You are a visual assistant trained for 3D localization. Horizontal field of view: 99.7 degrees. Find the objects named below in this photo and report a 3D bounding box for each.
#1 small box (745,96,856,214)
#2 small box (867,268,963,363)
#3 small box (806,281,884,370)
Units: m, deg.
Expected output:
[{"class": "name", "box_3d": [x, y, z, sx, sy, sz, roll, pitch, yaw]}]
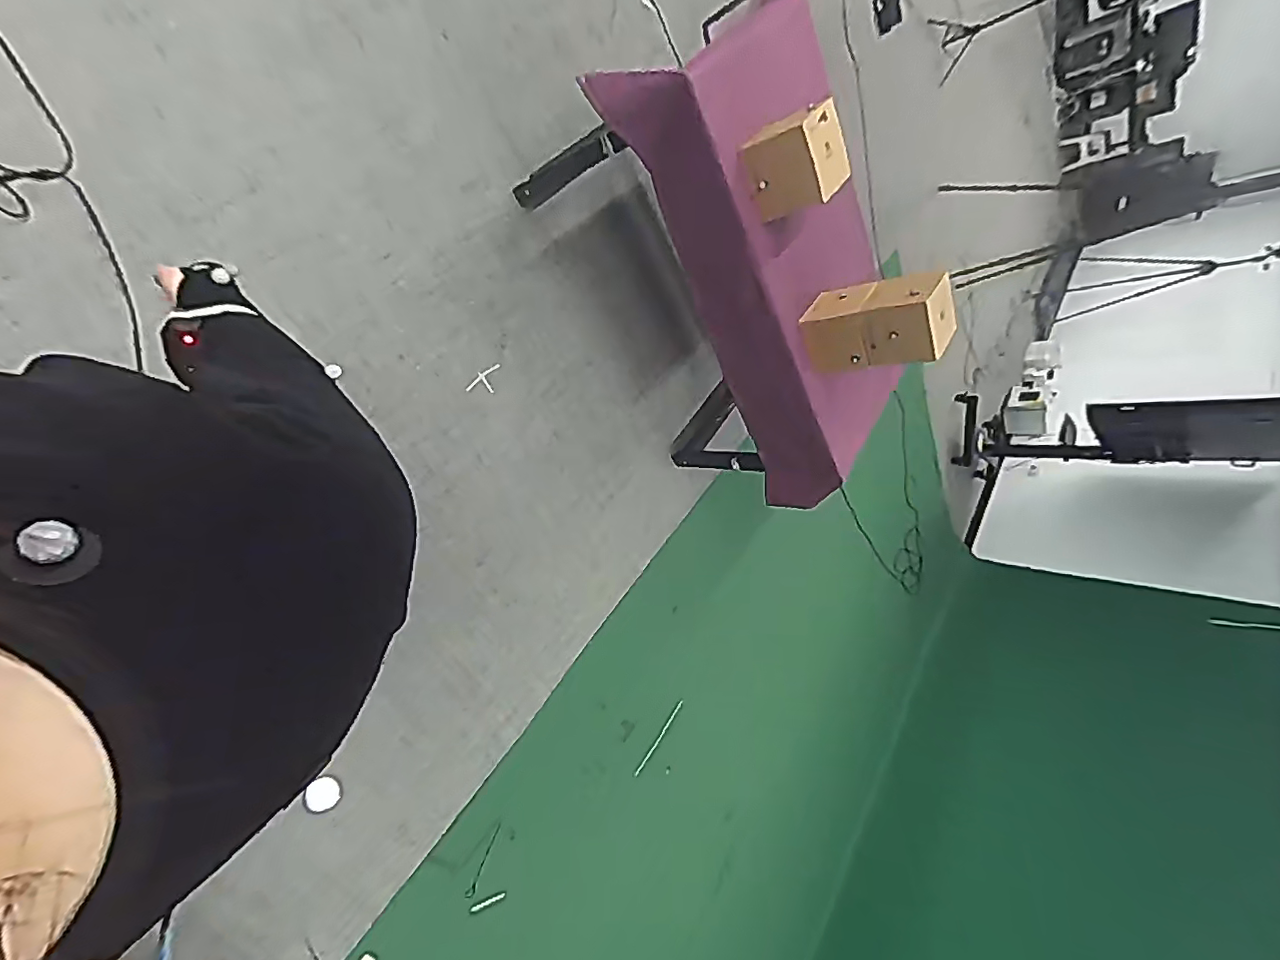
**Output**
[{"class": "small box", "box_3d": [0.375, -0.747, 1.264, 0.168, 0.176, 0.179, -50, 126, -29]}, {"class": "small box", "box_3d": [0.700, -0.413, 1.385, 0.179, 0.176, 0.168, -47, 125, -30]}, {"class": "small box", "box_3d": [0.583, -0.422, 1.501, 0.168, 0.176, 0.179, -49, 125, -29]}]
